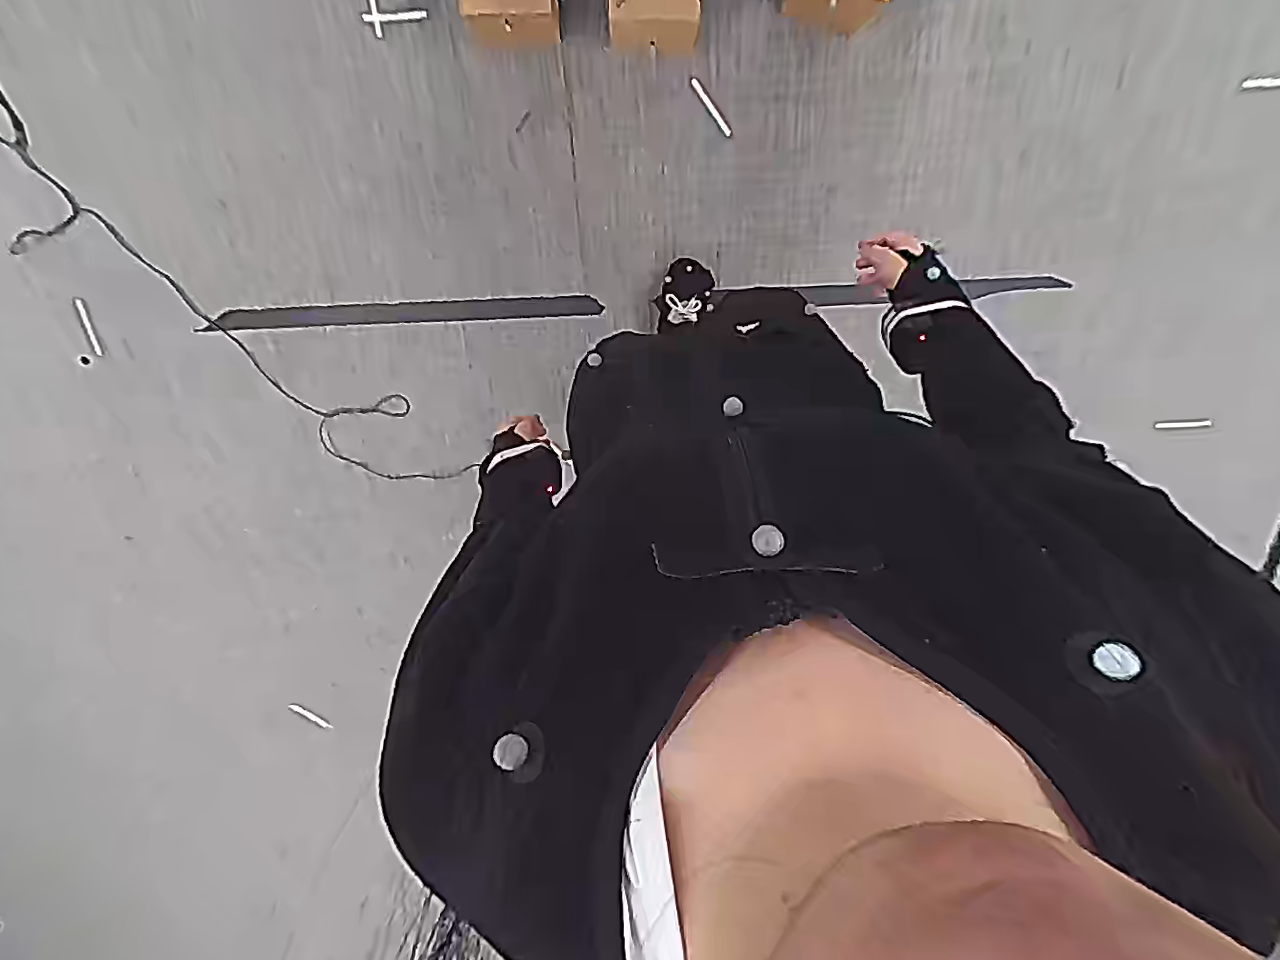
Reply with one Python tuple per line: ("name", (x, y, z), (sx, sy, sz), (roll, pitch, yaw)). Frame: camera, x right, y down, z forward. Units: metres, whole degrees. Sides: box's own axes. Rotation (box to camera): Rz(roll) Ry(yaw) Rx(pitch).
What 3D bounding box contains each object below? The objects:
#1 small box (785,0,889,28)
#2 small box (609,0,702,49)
("small box", (0.407, -1.026, 1.054), (0.179, 0.176, 0.168), (13, 112, -5))
("small box", (0.029, -0.981, 1.066), (0.179, 0.176, 0.168), (1, 112, -1))
